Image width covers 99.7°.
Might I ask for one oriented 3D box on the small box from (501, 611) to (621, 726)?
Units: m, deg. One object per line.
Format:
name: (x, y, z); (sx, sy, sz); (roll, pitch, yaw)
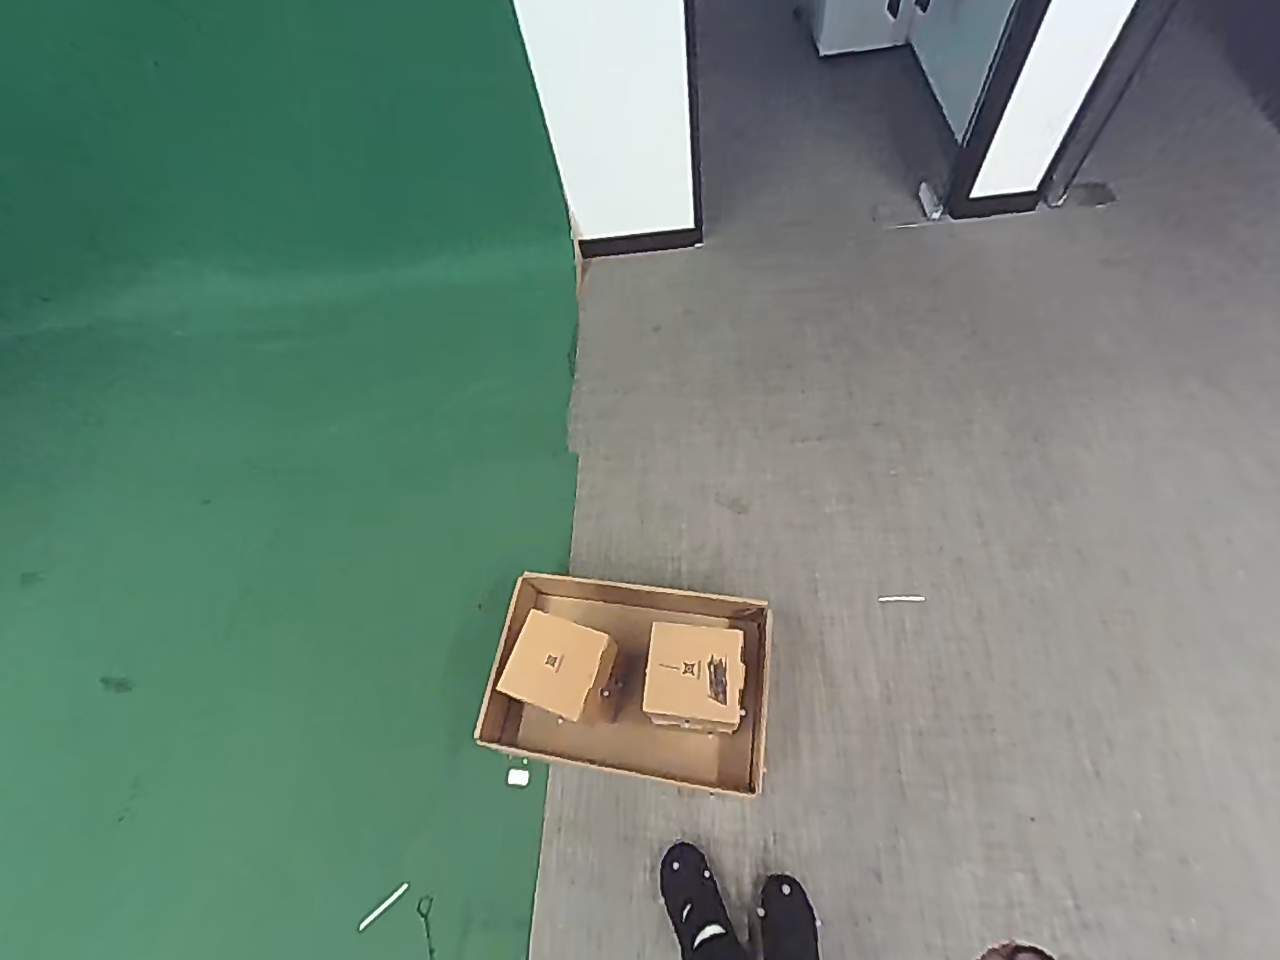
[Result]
small box: (-0.152, 0.393, 1.113); (0.179, 0.176, 0.168); (15, 64, 14)

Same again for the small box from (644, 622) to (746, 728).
small box: (0.115, 0.390, 1.069); (0.179, 0.176, 0.168); (2, 62, 12)
